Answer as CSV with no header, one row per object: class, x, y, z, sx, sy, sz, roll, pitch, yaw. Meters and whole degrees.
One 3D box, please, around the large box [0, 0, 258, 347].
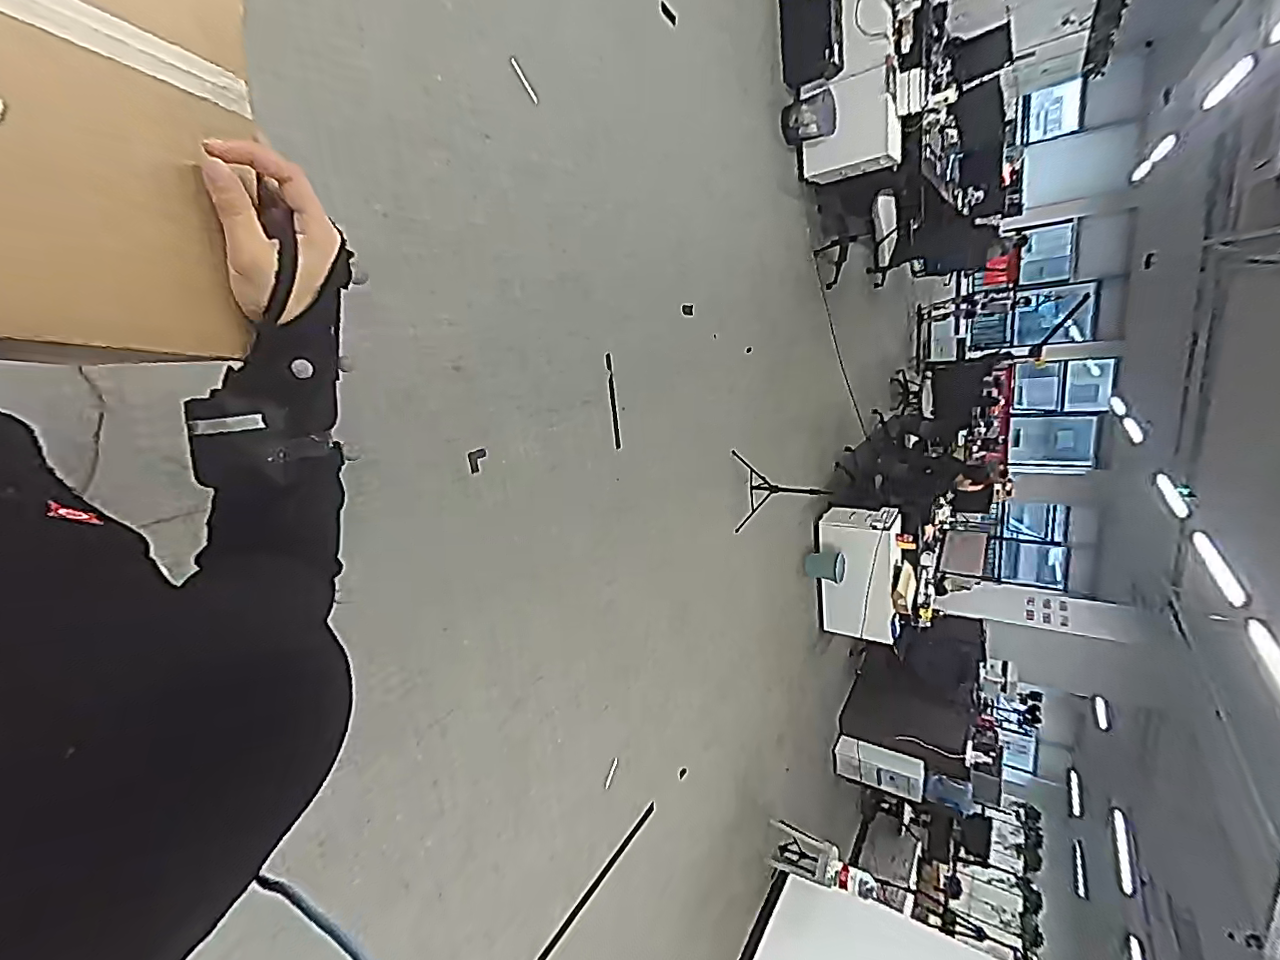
large box,-0.479,-0.239,0.243,0.408,0.320,0.320,-11,106,-60
